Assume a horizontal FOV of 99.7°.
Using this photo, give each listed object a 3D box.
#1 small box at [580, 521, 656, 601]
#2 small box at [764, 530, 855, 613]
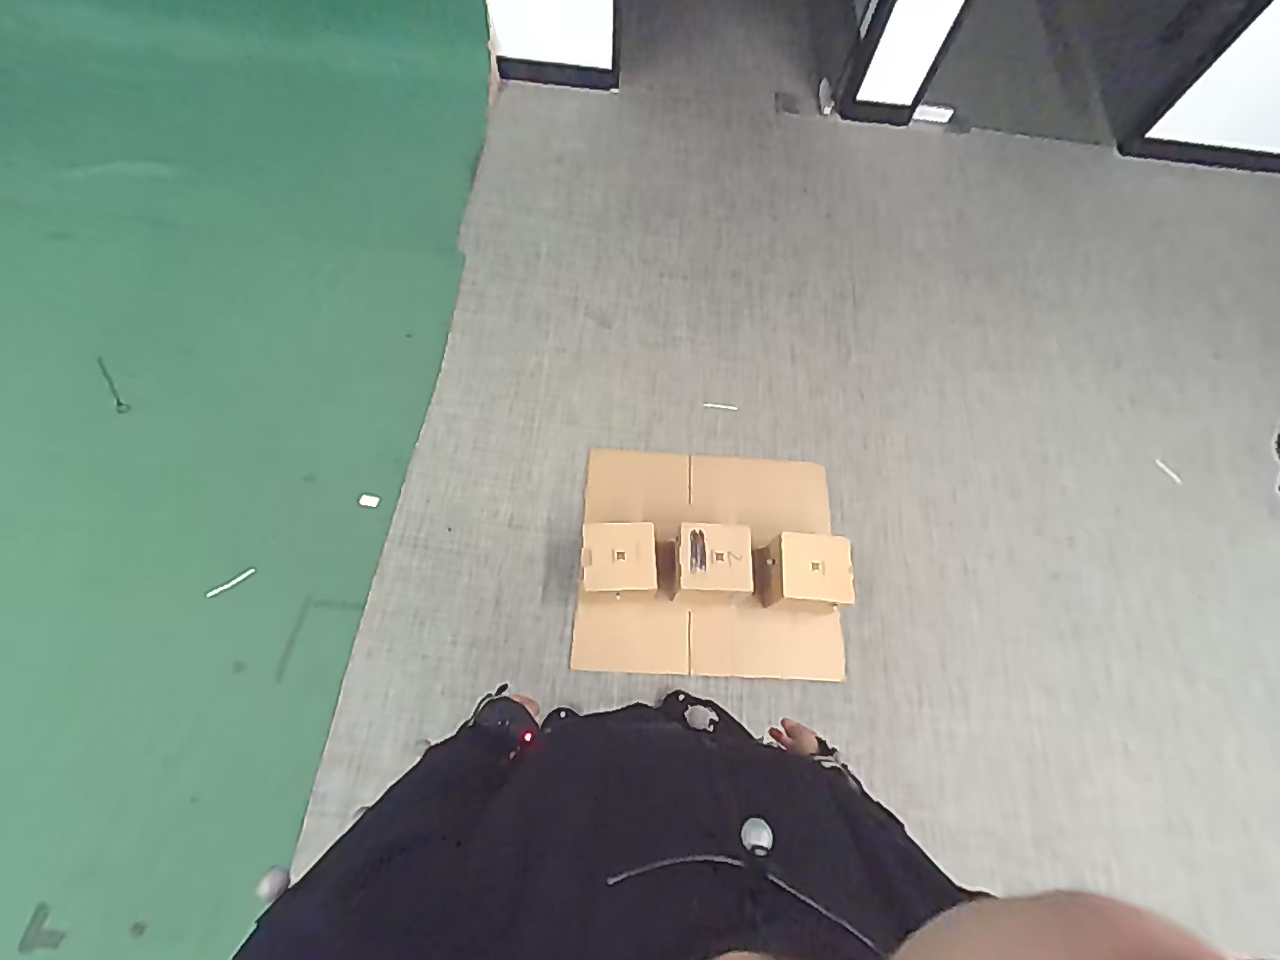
[{"bbox_3d":[-0.058,0.205,1.342,0.179,0.176,0.168,-1,69,-6],"label":"small box"},{"bbox_3d":[0.416,0.235,1.364,0.179,0.176,0.168,5,67,-3],"label":"small box"}]
